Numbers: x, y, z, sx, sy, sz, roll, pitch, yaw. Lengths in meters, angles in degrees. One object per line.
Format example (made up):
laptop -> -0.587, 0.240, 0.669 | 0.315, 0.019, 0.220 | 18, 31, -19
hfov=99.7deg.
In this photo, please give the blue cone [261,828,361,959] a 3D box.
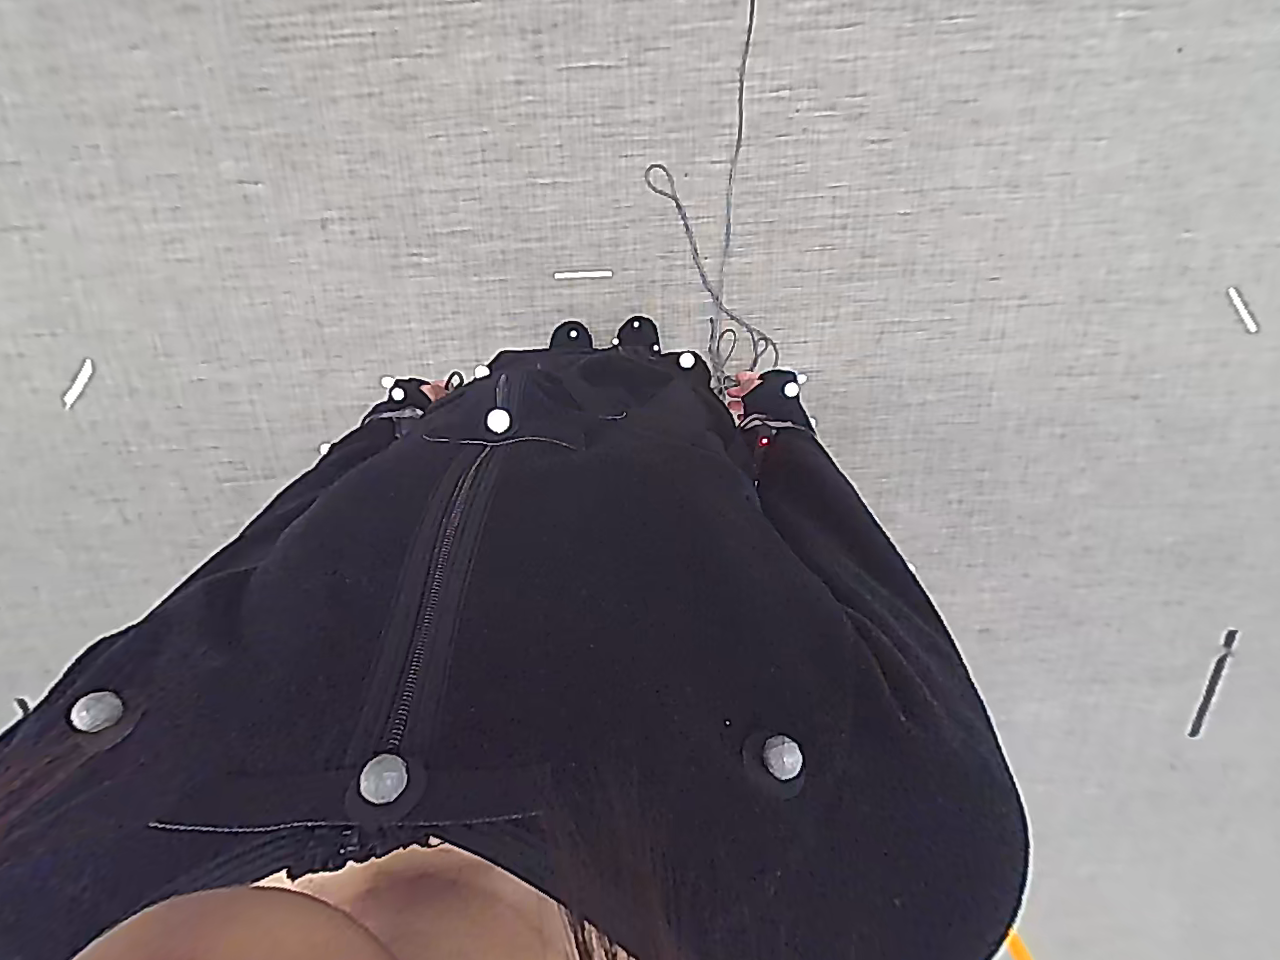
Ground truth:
blue cone -> -1.070, 1.336, 1.721 | 0.193, 0.380, 0.192 | 1, 108, -1
